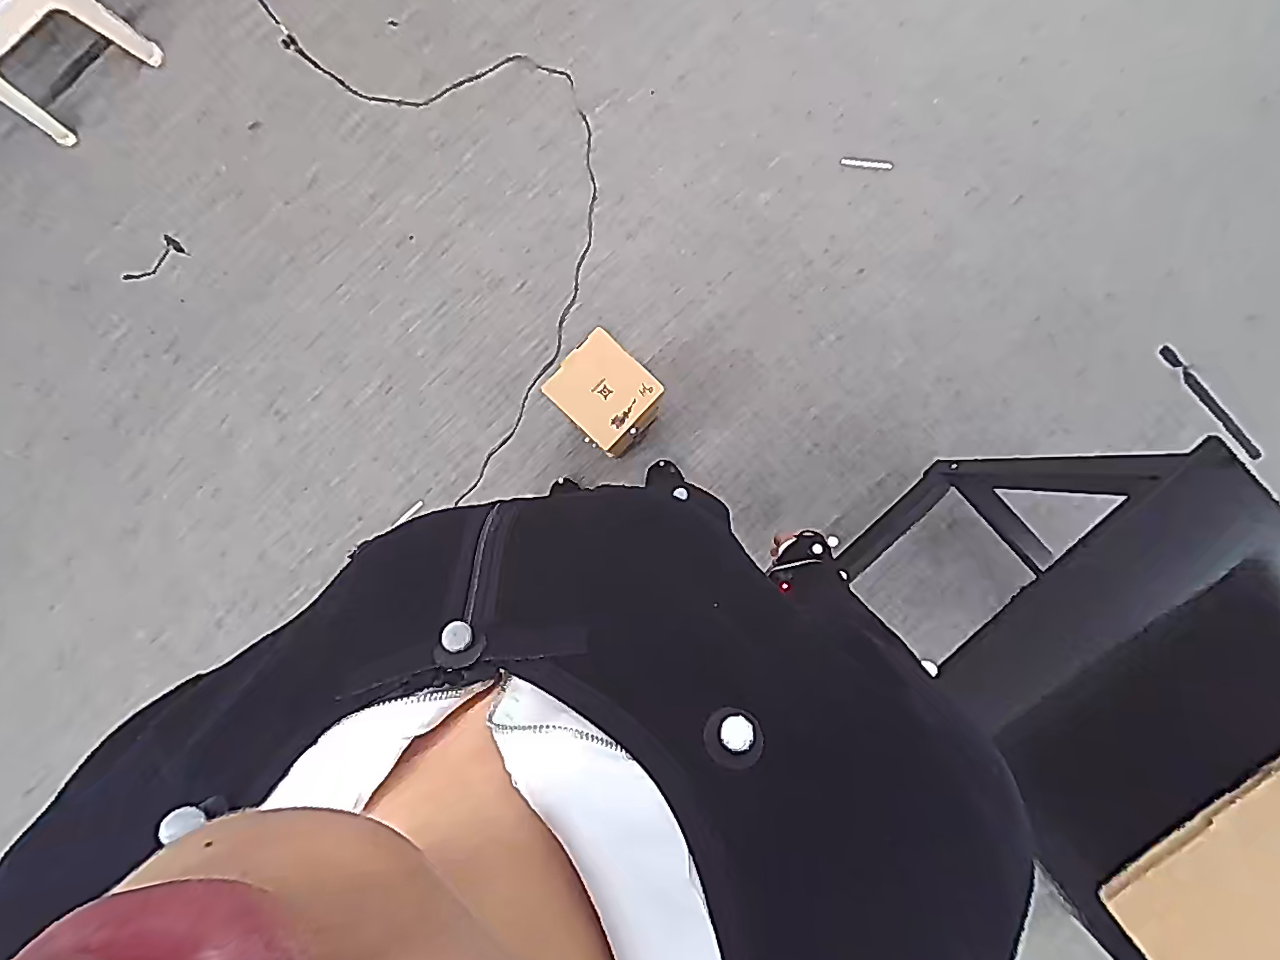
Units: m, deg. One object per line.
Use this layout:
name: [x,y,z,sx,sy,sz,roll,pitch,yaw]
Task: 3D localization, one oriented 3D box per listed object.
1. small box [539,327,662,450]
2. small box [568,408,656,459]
small box: [-0.074,-0.172,1.092,0.179,0.176,0.168,43,91,0]
small box: [-0.076,-0.171,1.418,0.168,0.176,0.179,44,92,0]
